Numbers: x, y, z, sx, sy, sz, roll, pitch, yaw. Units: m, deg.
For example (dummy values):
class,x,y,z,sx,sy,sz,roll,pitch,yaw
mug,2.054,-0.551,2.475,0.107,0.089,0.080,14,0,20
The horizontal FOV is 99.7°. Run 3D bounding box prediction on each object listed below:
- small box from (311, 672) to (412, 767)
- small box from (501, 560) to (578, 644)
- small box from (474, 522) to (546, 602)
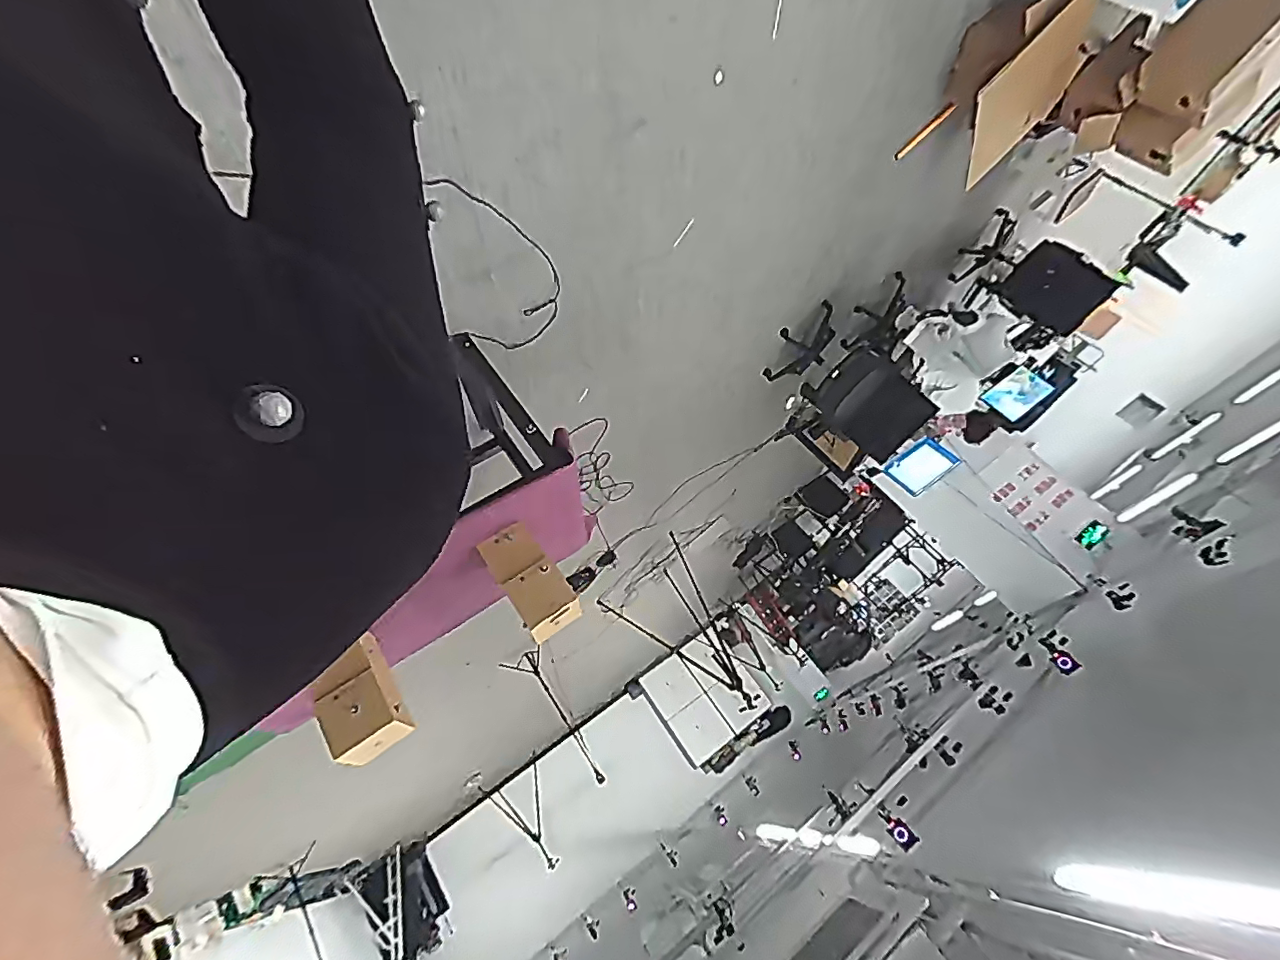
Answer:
class,x,y,z,sx,sy,sz,roll,pitch,yaw
small box,-0.762,0.653,1.482,0.168,0.176,0.179,-31,155,-19
small box,-0.309,0.371,1.664,0.168,0.176,0.179,-32,157,-19
small box,-0.407,0.262,1.736,0.168,0.176,0.179,-32,155,-19
